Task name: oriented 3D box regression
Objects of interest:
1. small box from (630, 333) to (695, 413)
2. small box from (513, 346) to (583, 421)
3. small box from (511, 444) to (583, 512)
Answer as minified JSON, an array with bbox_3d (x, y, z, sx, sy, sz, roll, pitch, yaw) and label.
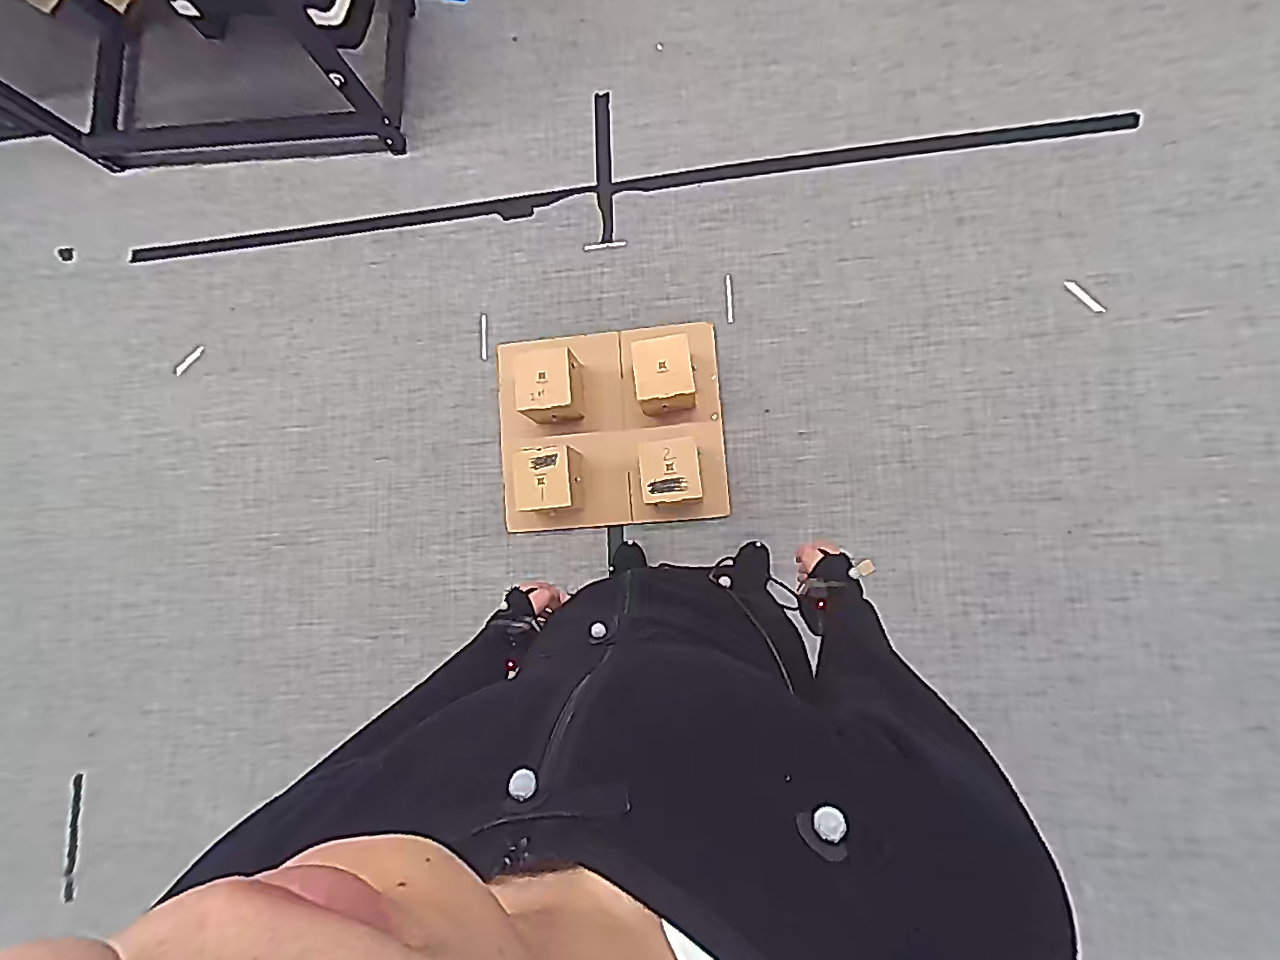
[{"bbox_3d":[0.069,-0.309,1.595,0.168,0.176,0.179,-8,84,6],"label":"small box"},{"bbox_3d":[-0.272,-0.285,1.627,0.168,0.176,0.179,-5,84,7],"label":"small box"},{"bbox_3d":[-0.271,0.000,1.601,0.168,0.176,0.179,-6,85,7],"label":"small box"}]
